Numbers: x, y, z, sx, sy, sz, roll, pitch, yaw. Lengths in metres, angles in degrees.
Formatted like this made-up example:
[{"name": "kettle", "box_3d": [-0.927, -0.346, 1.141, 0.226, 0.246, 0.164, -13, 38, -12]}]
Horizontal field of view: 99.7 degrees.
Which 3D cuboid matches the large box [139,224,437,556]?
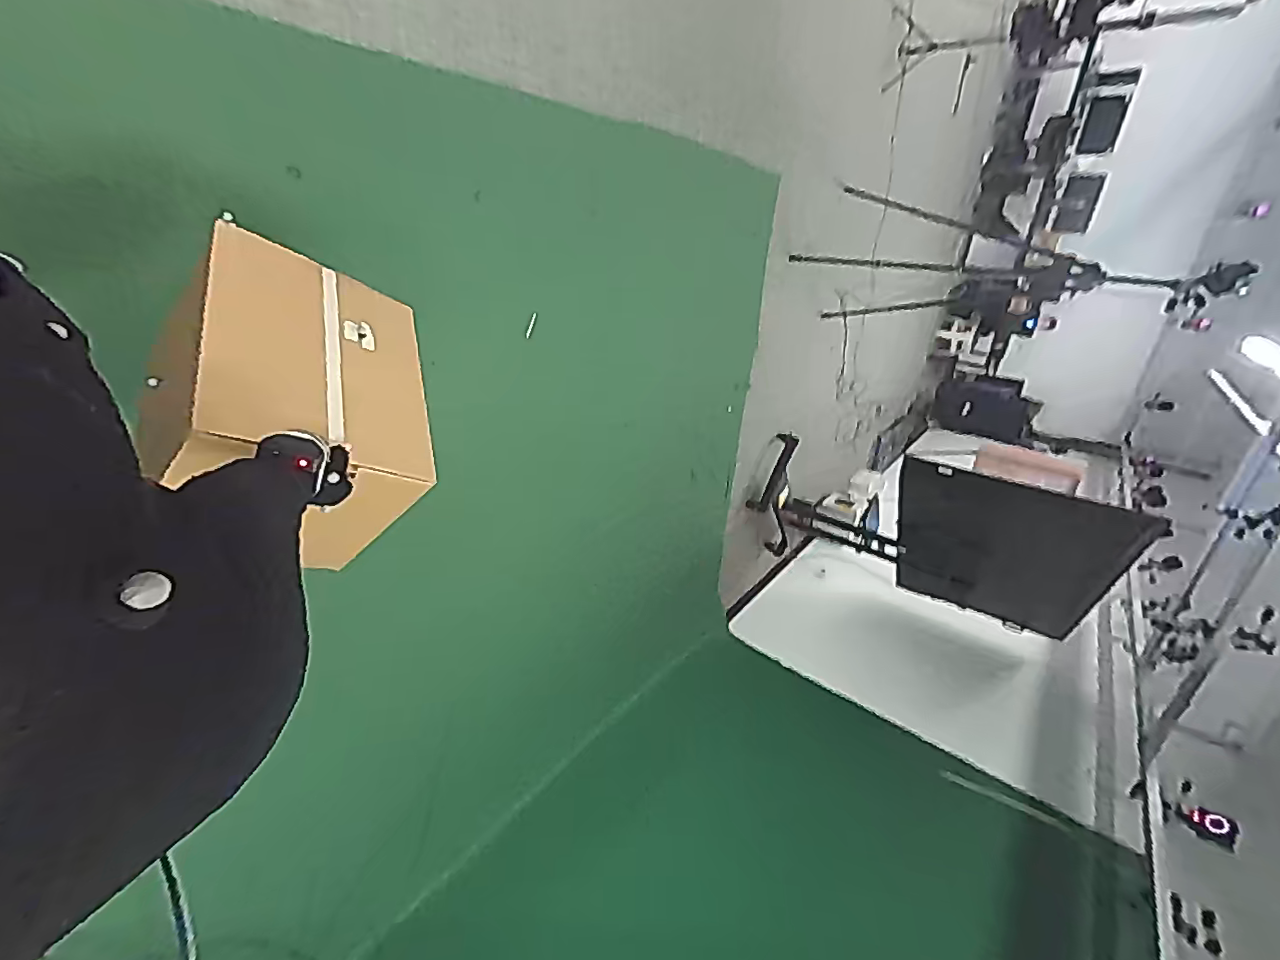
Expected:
[{"name": "large box", "box_3d": [-0.590, -0.120, 0.912, 0.320, 0.408, 0.320, -36, 149, 27]}]
